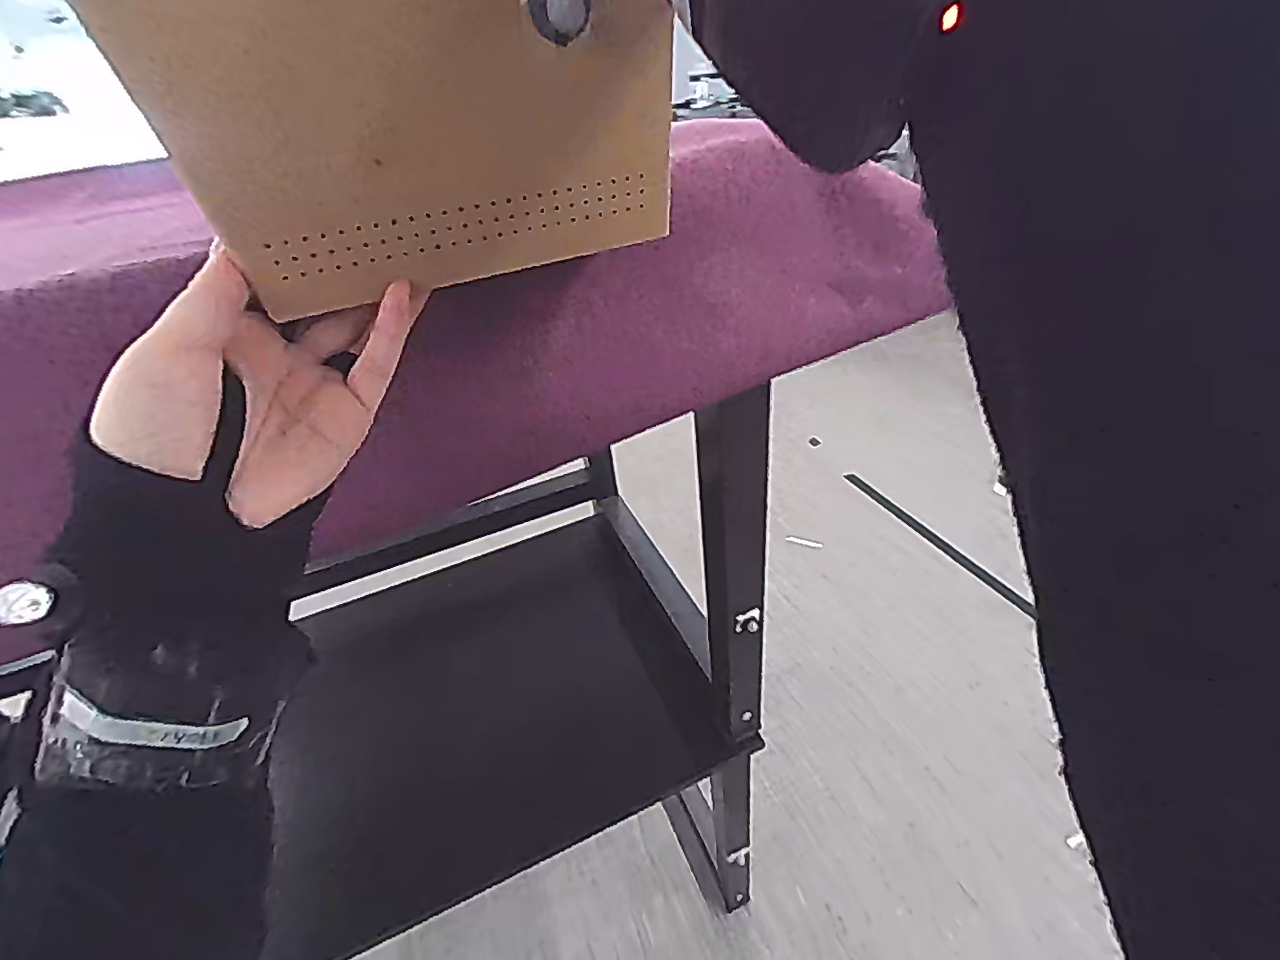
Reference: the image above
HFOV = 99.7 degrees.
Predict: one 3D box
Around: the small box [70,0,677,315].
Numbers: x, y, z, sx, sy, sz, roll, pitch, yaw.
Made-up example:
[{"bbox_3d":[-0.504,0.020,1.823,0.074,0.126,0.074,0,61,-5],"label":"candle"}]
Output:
[{"bbox_3d":[-0.092,-0.193,0.212,0.179,0.176,0.168,-18,55,-13],"label":"small box"}]
